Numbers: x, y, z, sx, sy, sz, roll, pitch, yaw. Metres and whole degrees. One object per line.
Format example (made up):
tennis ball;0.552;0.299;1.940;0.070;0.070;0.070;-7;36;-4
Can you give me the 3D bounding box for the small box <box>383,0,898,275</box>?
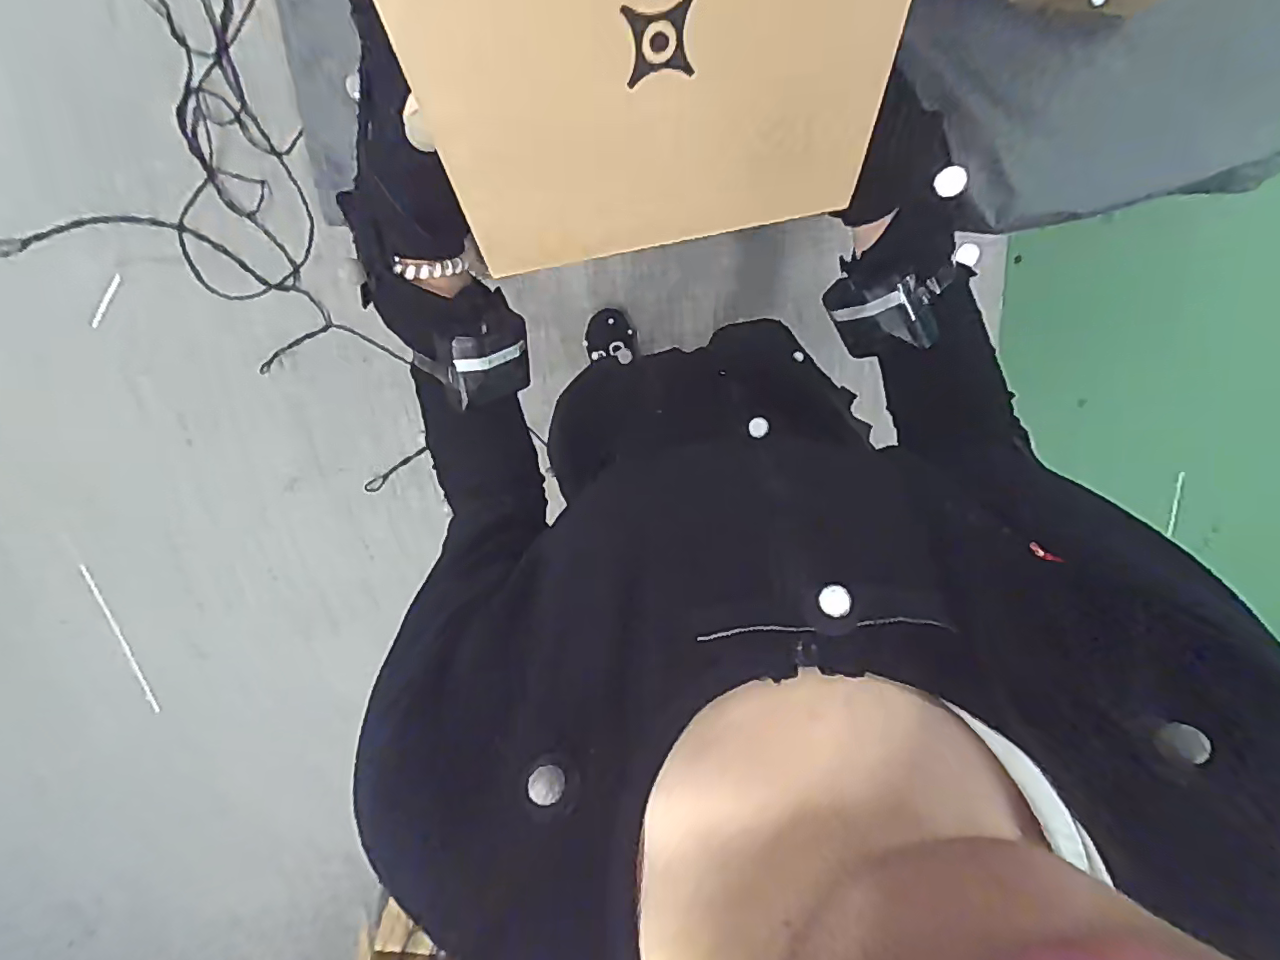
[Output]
small box;-0.009;-0.219;0.213;0.168;0.176;0.179;-12;151;0
